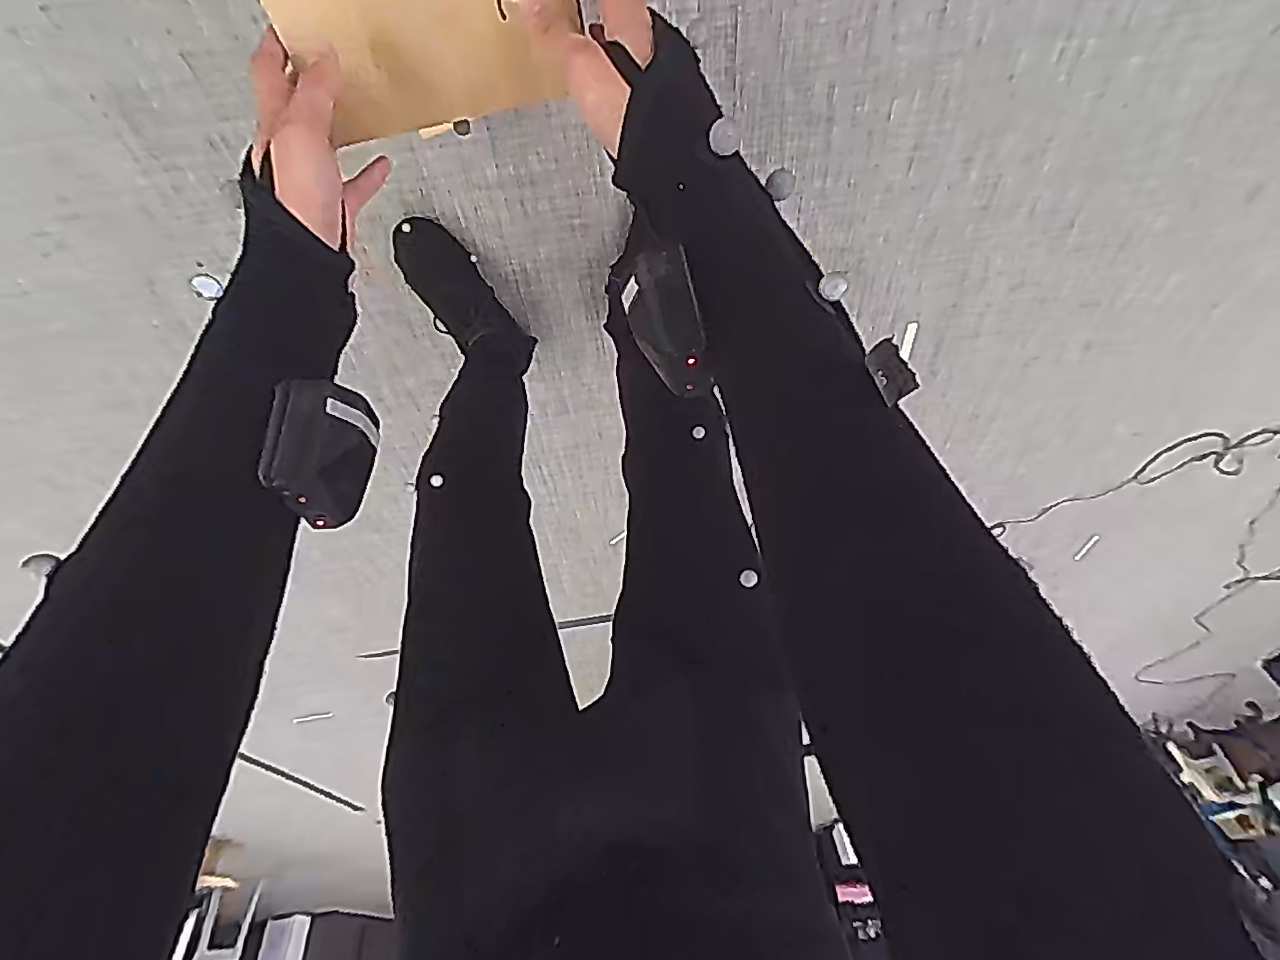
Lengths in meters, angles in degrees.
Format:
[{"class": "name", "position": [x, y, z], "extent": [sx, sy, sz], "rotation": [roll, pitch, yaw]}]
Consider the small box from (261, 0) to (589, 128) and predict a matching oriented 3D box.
[{"class": "small box", "position": [-0.135, -0.347, 0.338], "extent": [0.179, 0.176, 0.168], "rotation": [-11, 136, 2]}]

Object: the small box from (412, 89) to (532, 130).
[{"class": "small box", "position": [-0.208, -0.536, 0.606], "extent": [0.168, 0.176, 0.179], "rotation": [-16, 137, 8]}]
